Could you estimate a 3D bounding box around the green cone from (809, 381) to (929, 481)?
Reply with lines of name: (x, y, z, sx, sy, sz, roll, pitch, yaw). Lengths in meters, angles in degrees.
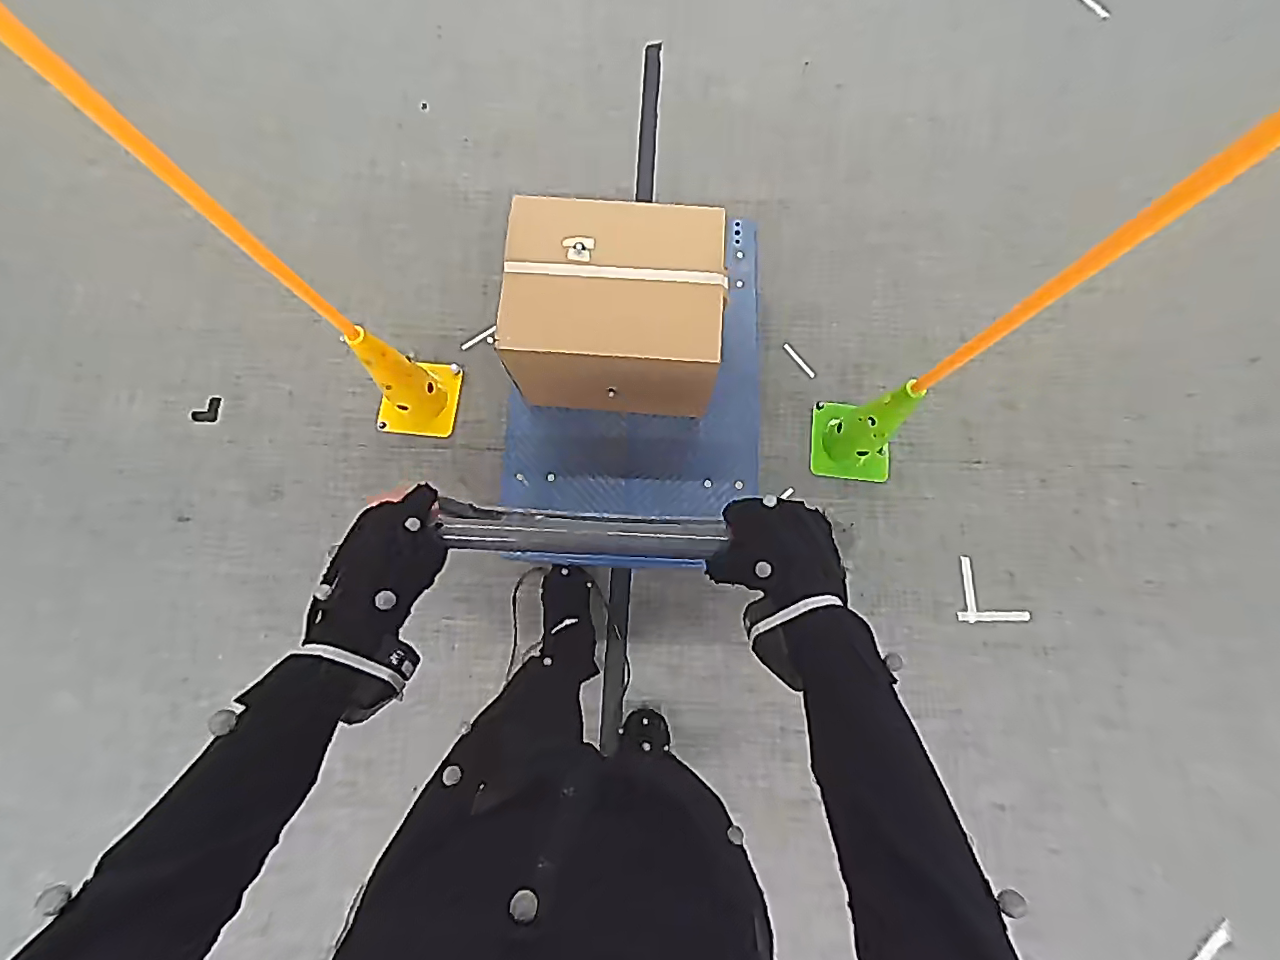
green cone: (0.547, -0.138, 1.247, 0.202, 0.368, 0.200, 7, 78, 1)

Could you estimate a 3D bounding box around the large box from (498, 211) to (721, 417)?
large box: (-0.047, -0.328, 1.147, 0.408, 0.320, 0.320, 4, 79, 2)
